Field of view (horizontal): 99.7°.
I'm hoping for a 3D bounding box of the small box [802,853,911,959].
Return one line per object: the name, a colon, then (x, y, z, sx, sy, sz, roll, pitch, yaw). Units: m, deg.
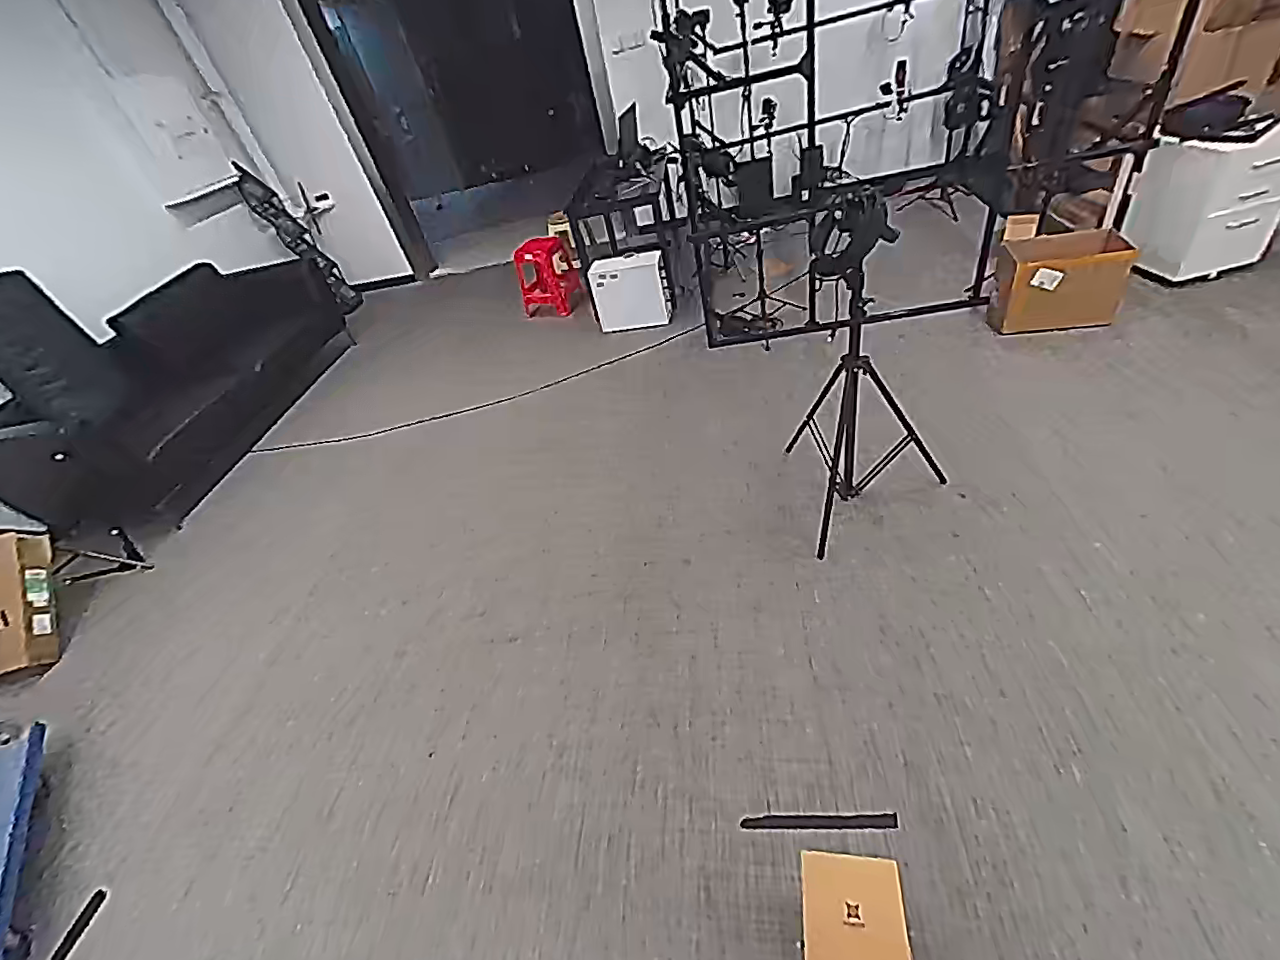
small box: (0.375, 0.796, 0.956, 0.168, 0.176, 0.179, -4, 41, 15)
